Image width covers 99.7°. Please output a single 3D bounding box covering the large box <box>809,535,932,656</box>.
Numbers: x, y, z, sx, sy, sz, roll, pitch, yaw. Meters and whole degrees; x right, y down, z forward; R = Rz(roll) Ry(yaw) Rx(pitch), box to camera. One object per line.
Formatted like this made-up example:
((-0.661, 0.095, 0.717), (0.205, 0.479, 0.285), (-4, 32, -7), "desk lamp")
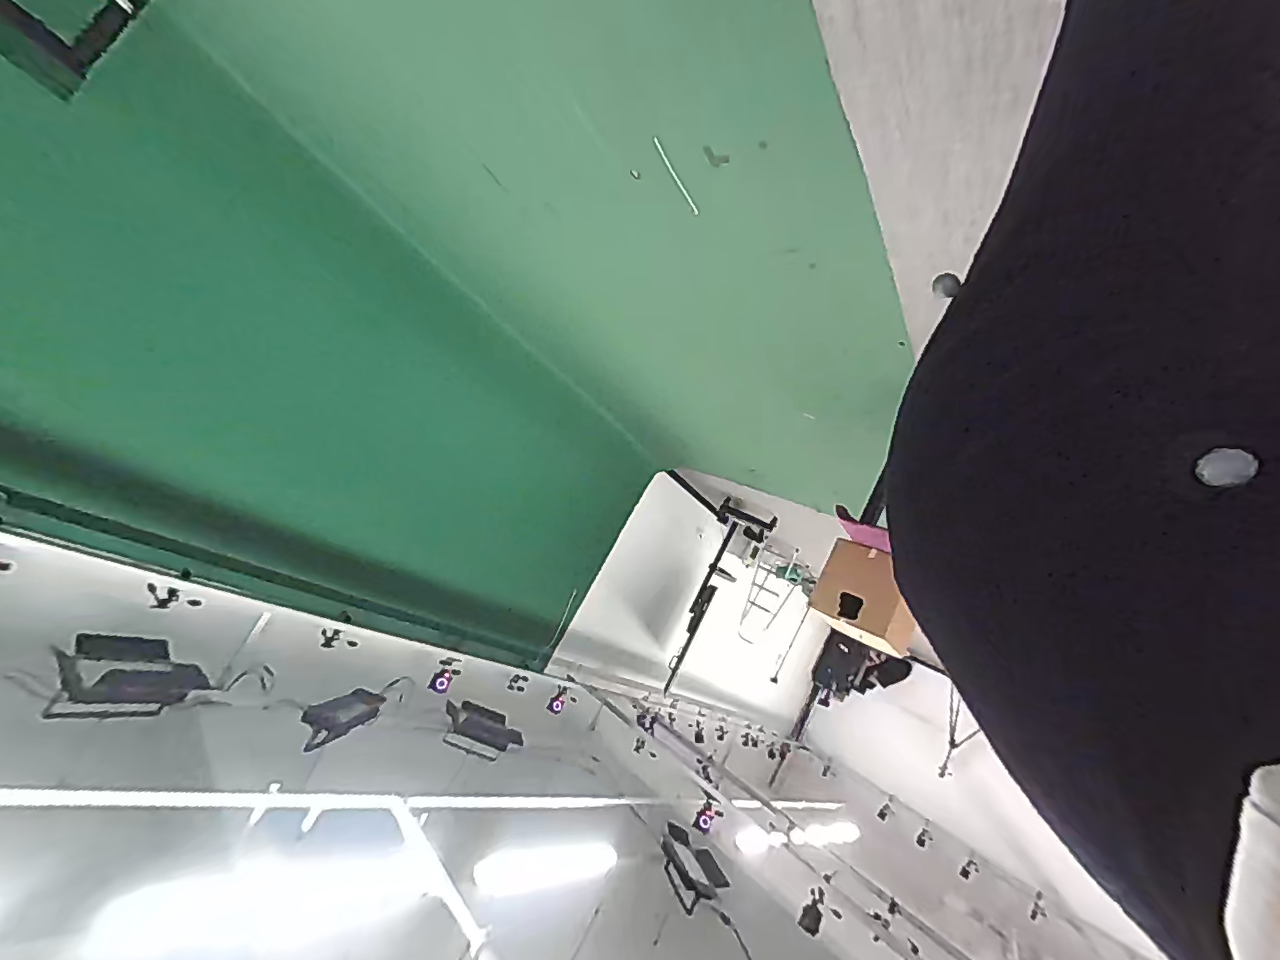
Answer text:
((0.948, 0.469, 2.200), (0.320, 0.320, 0.408), (18, 165, 41), "large box")
